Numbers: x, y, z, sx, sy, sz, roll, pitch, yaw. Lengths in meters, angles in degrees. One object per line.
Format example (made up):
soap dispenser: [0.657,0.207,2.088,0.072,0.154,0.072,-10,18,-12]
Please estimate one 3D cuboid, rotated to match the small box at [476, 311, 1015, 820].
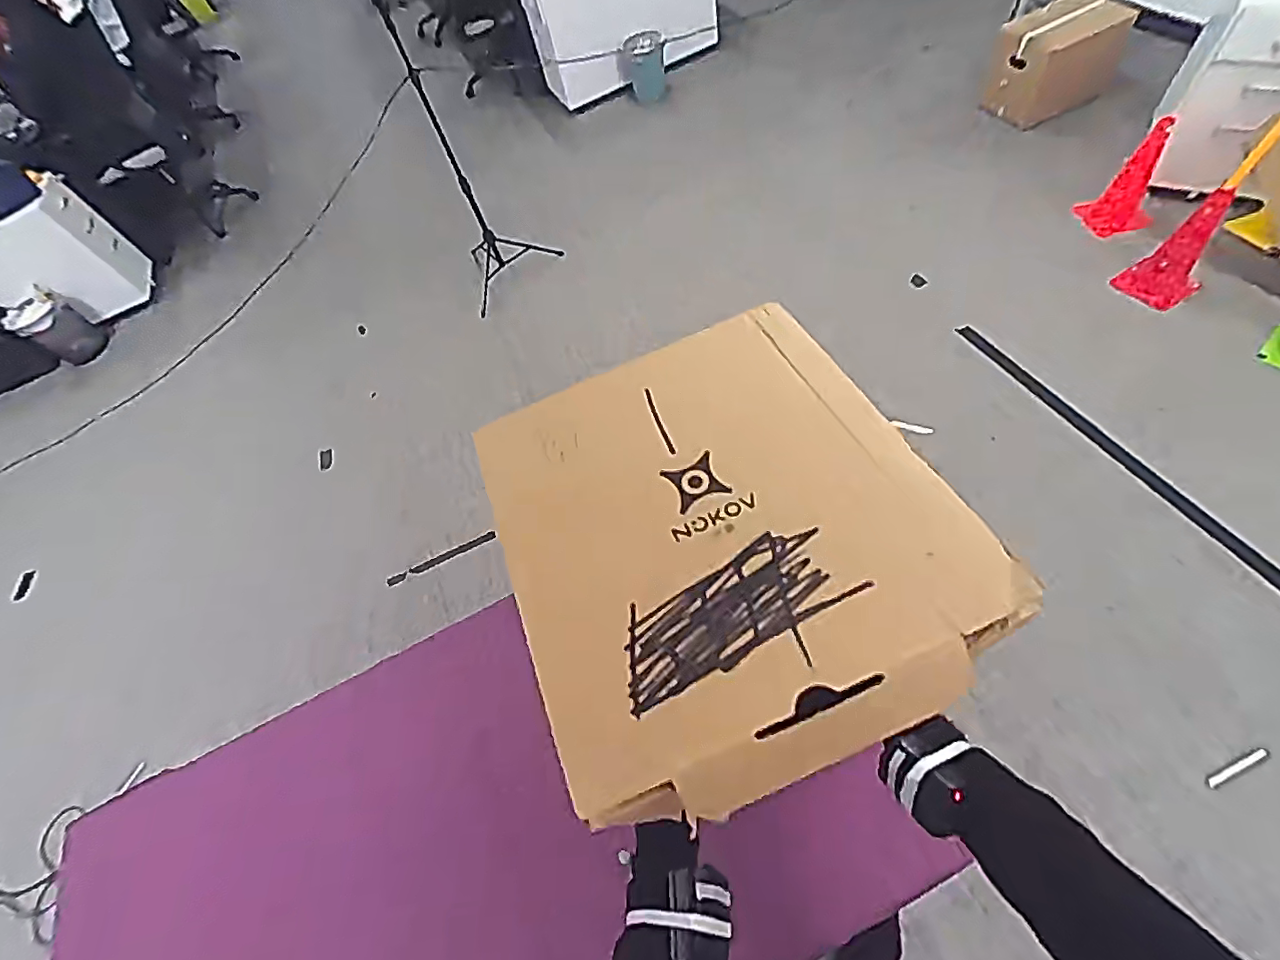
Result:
small box: [0.039,0.052,0.290,0.168,0.176,0.179,-24,56,-3]
